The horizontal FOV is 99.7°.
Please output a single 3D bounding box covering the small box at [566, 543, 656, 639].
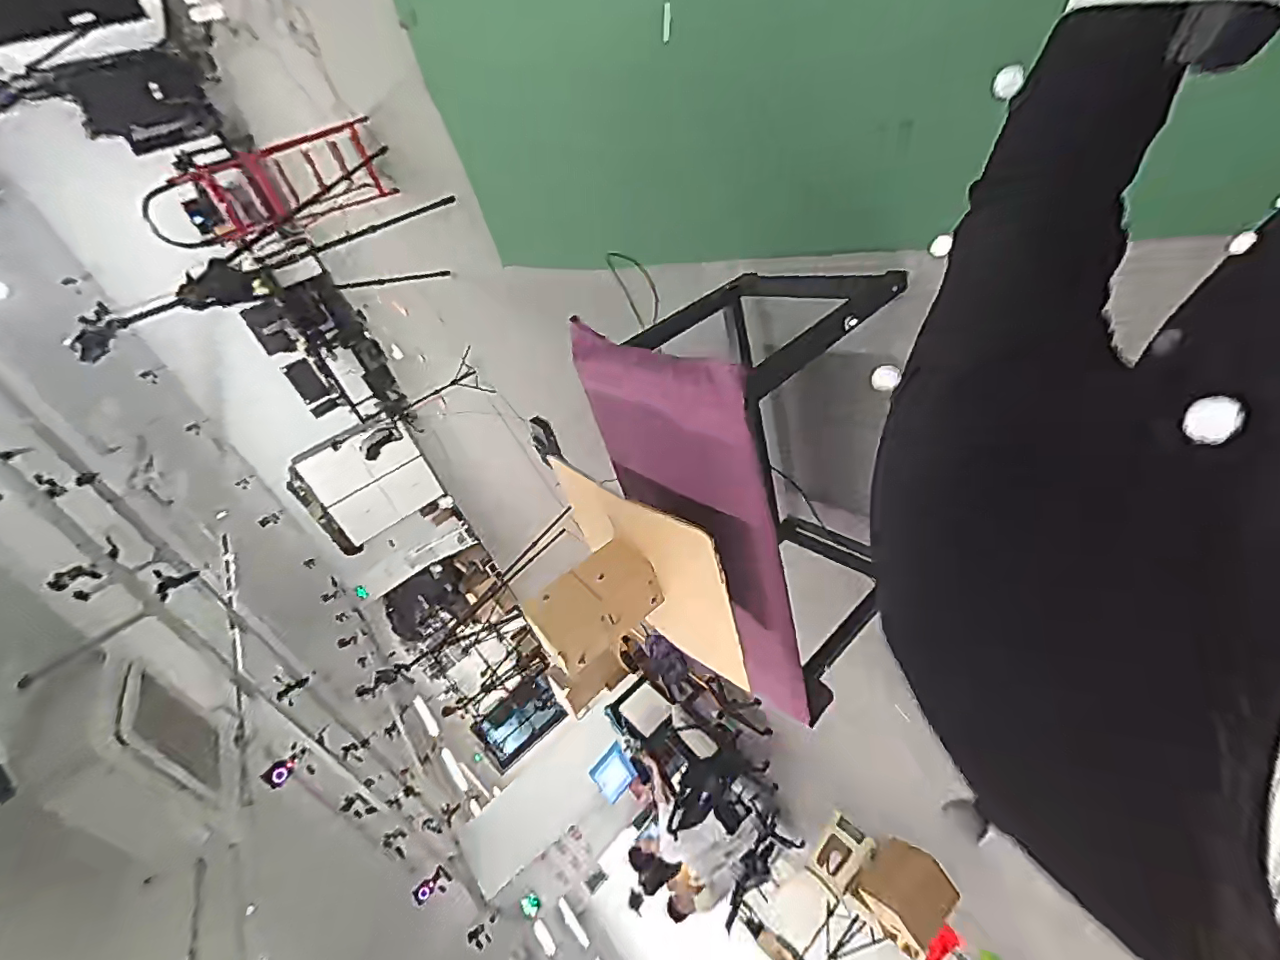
[{"bbox_3d":[-0.074,0.306,1.530,0.179,0.176,0.168,24,142,48],"label":"small box"}]
